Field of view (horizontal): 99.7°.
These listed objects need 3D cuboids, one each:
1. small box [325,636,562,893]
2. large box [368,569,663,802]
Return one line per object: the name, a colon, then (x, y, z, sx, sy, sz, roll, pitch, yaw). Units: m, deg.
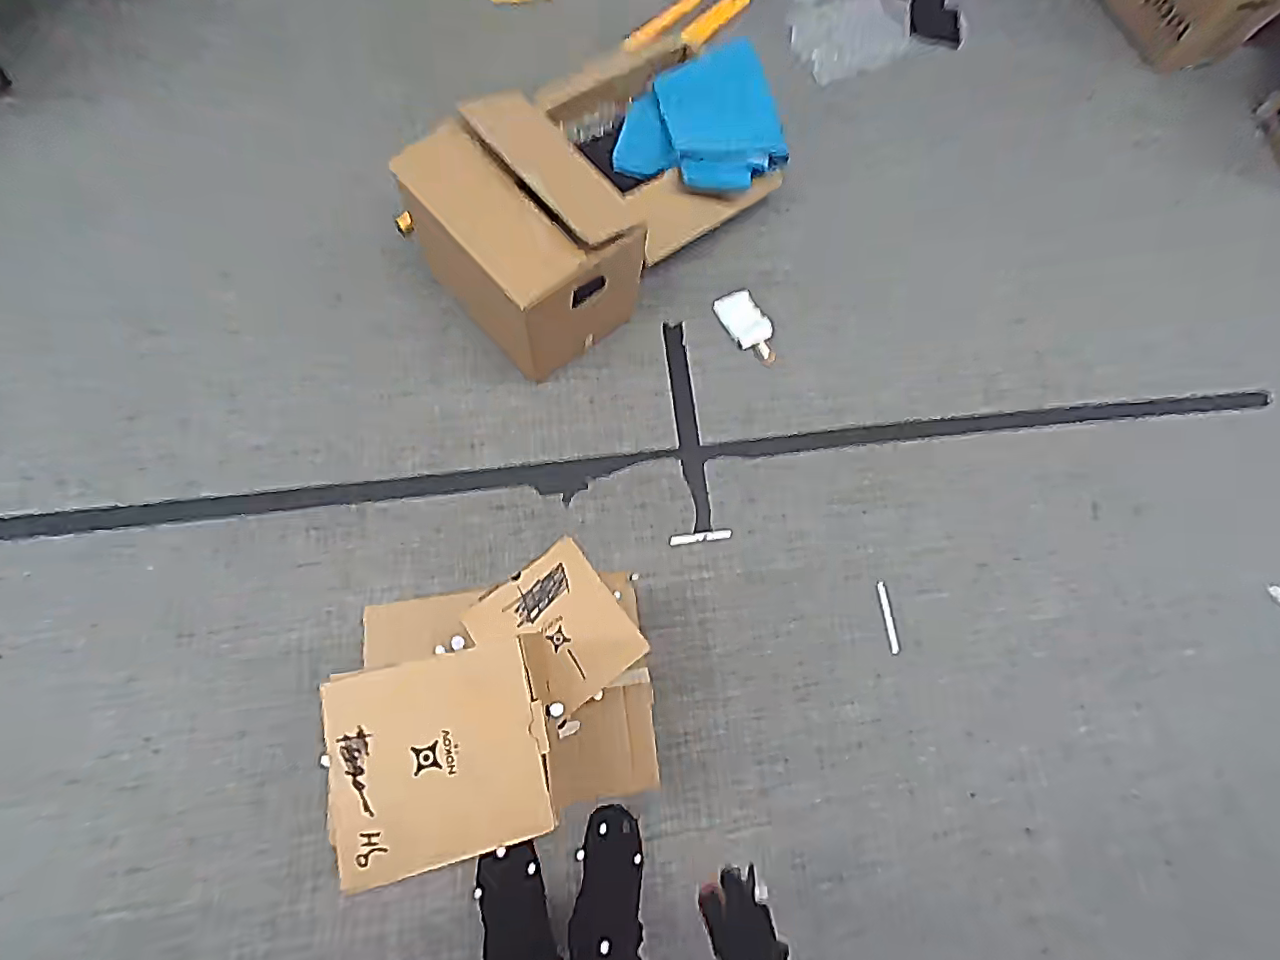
small box: (-0.177, 0.254, 0.534, 0.179, 0.176, 0.168, -12, 76, -9)
large box: (-0.201, 0.354, 0.928, 0.408, 0.320, 0.320, -7, 75, -8)
